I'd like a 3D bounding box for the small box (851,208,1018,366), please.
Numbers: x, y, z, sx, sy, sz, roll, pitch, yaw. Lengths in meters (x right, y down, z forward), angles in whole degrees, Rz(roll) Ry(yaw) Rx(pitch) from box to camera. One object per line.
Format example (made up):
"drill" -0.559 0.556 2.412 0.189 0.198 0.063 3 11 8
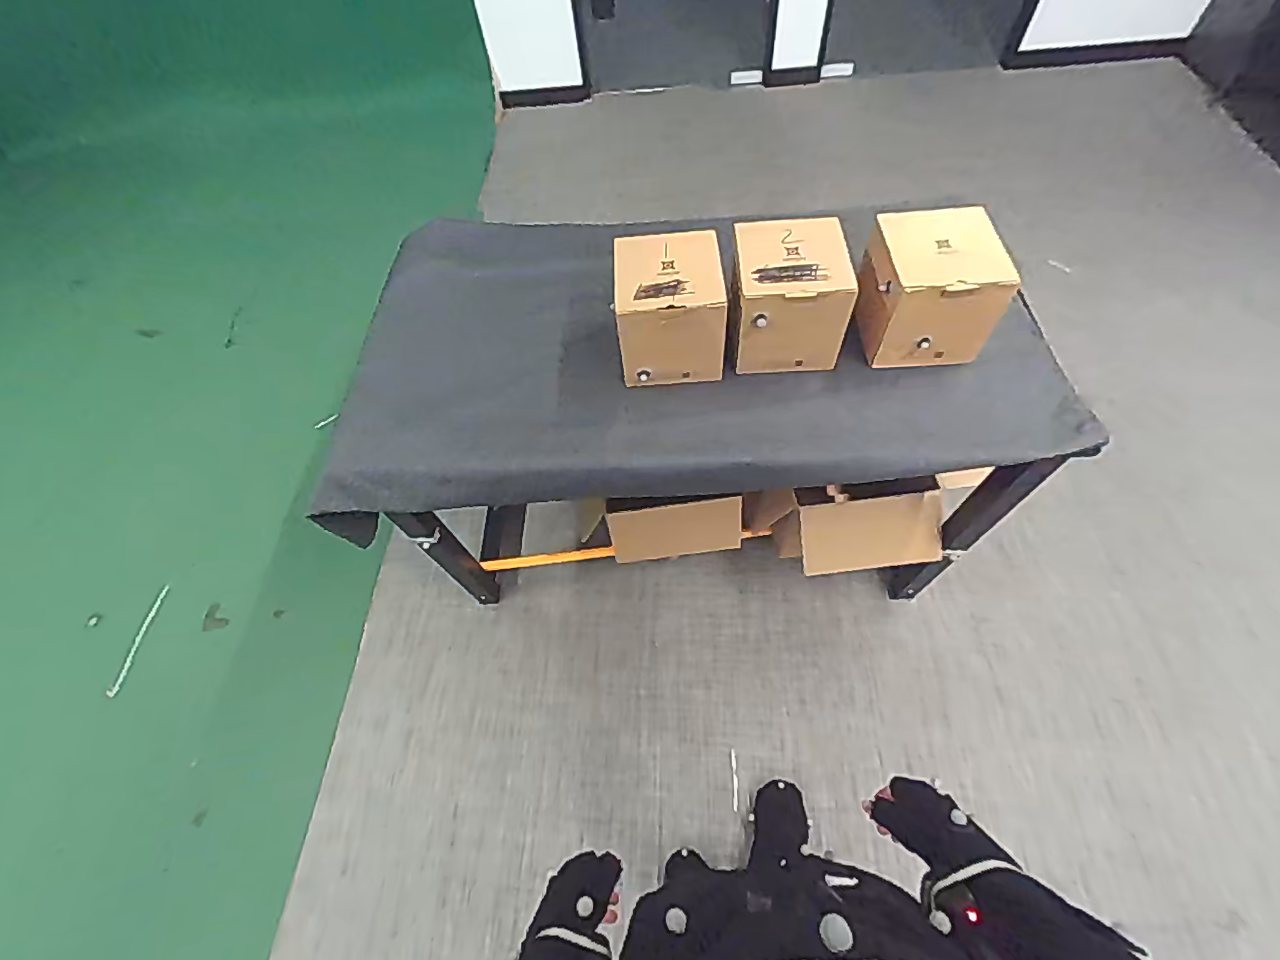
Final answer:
"small box" 0.458 -0.309 0.878 0.168 0.176 0.179 -3 60 4

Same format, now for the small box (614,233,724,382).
"small box" 0.048 -0.276 0.898 0.168 0.176 0.179 -4 59 3
